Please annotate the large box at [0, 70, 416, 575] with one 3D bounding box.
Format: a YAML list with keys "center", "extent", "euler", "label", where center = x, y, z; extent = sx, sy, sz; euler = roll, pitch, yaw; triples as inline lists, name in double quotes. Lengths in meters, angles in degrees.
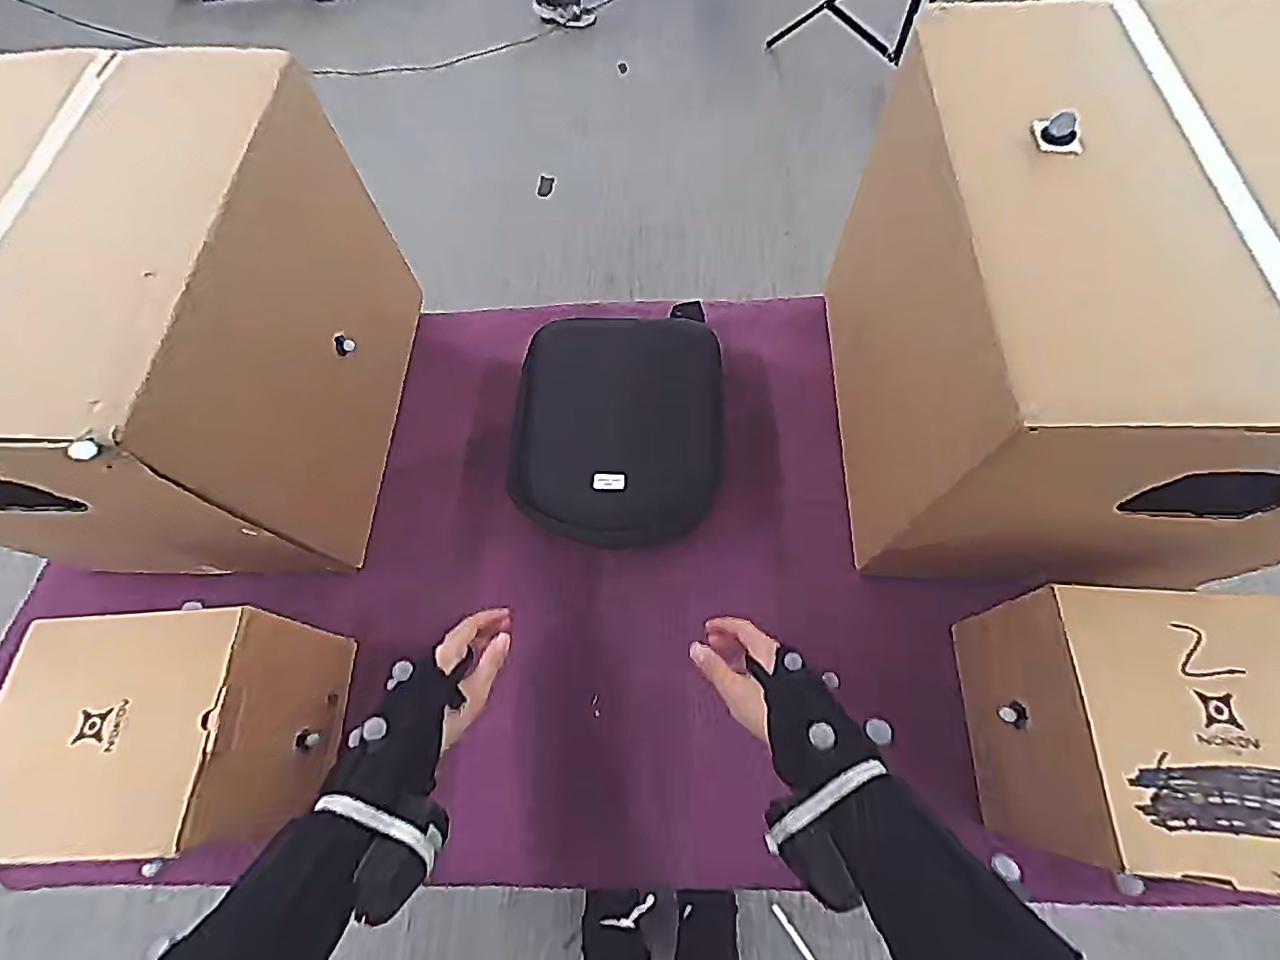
- center: [-0.462, -0.133, 0.558]
  extent: [0.320, 0.320, 0.408]
  euler: [-1, 67, 2]
  label: "large box"

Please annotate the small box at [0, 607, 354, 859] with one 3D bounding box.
- center: [-0.387, 0.215, 0.467]
  extent: [0.179, 0.176, 0.168]
  euler: [-4, 63, 1]
  label: "small box"
